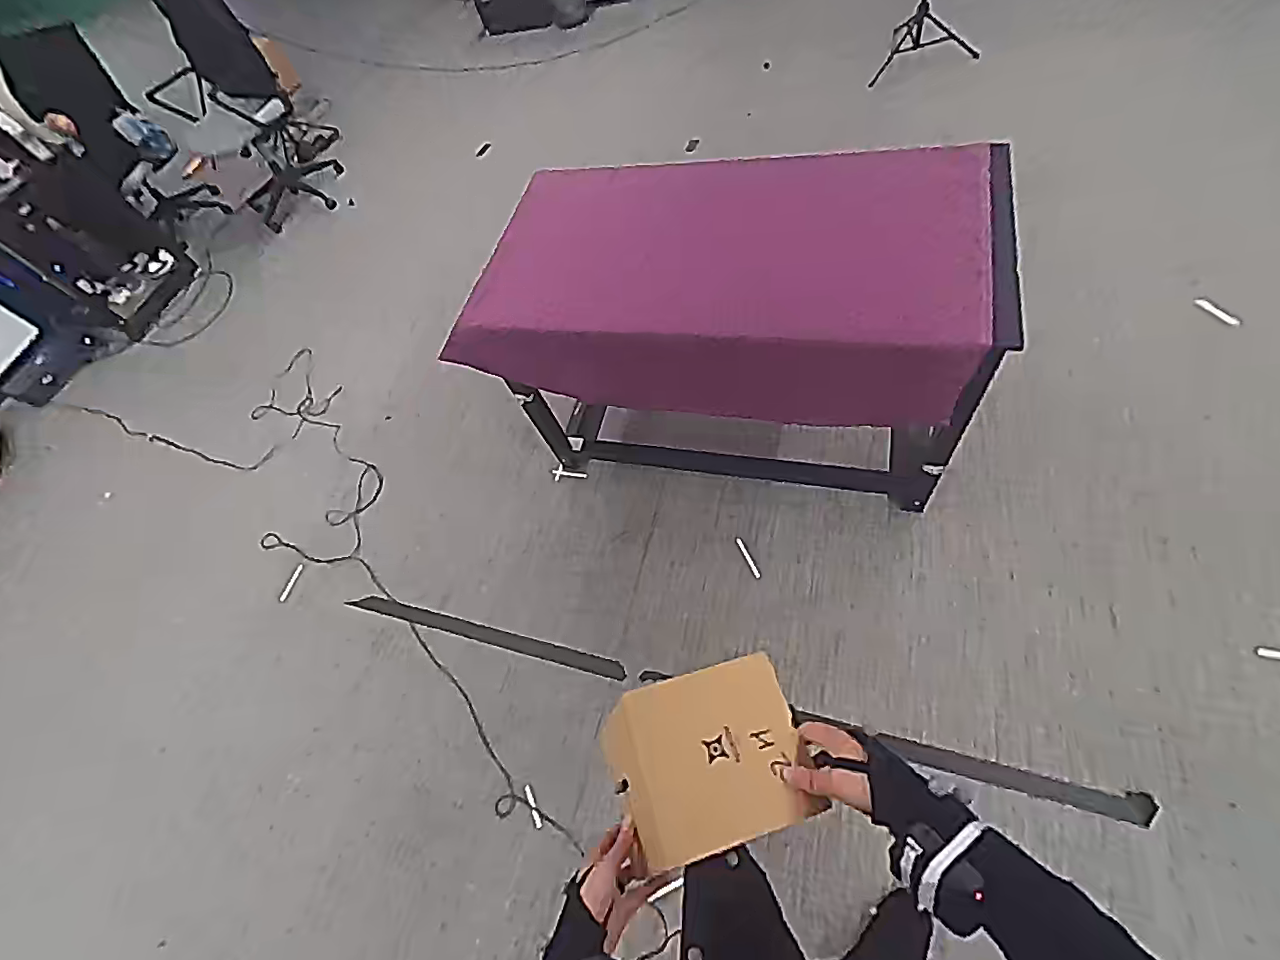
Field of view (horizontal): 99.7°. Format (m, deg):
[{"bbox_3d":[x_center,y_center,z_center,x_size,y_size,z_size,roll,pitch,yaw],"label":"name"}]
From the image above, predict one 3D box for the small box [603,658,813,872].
[{"bbox_3d":[0.061,0.332,0.631,0.179,0.176,0.168,-6,54,-20],"label":"small box"}]
